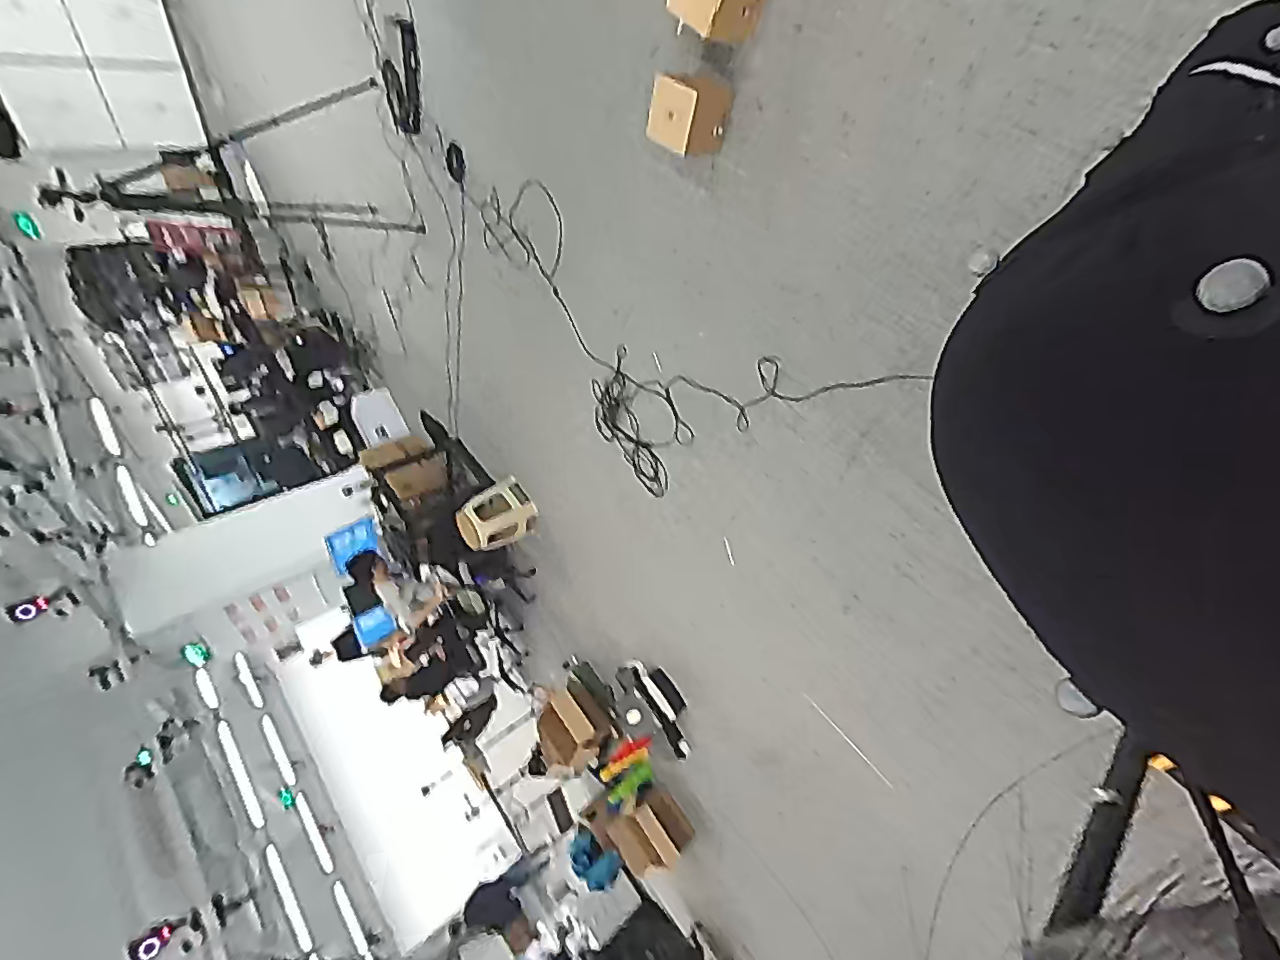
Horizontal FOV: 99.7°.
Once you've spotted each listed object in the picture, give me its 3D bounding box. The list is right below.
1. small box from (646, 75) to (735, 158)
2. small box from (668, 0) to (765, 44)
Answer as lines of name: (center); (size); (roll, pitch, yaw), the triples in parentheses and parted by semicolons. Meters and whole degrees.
small box: (0.150, -1.086, 1.617); (0.179, 0.176, 0.168); (43, 143, 24)
small box: (0.209, -1.278, 1.414); (0.179, 0.176, 0.168); (50, 143, 18)
